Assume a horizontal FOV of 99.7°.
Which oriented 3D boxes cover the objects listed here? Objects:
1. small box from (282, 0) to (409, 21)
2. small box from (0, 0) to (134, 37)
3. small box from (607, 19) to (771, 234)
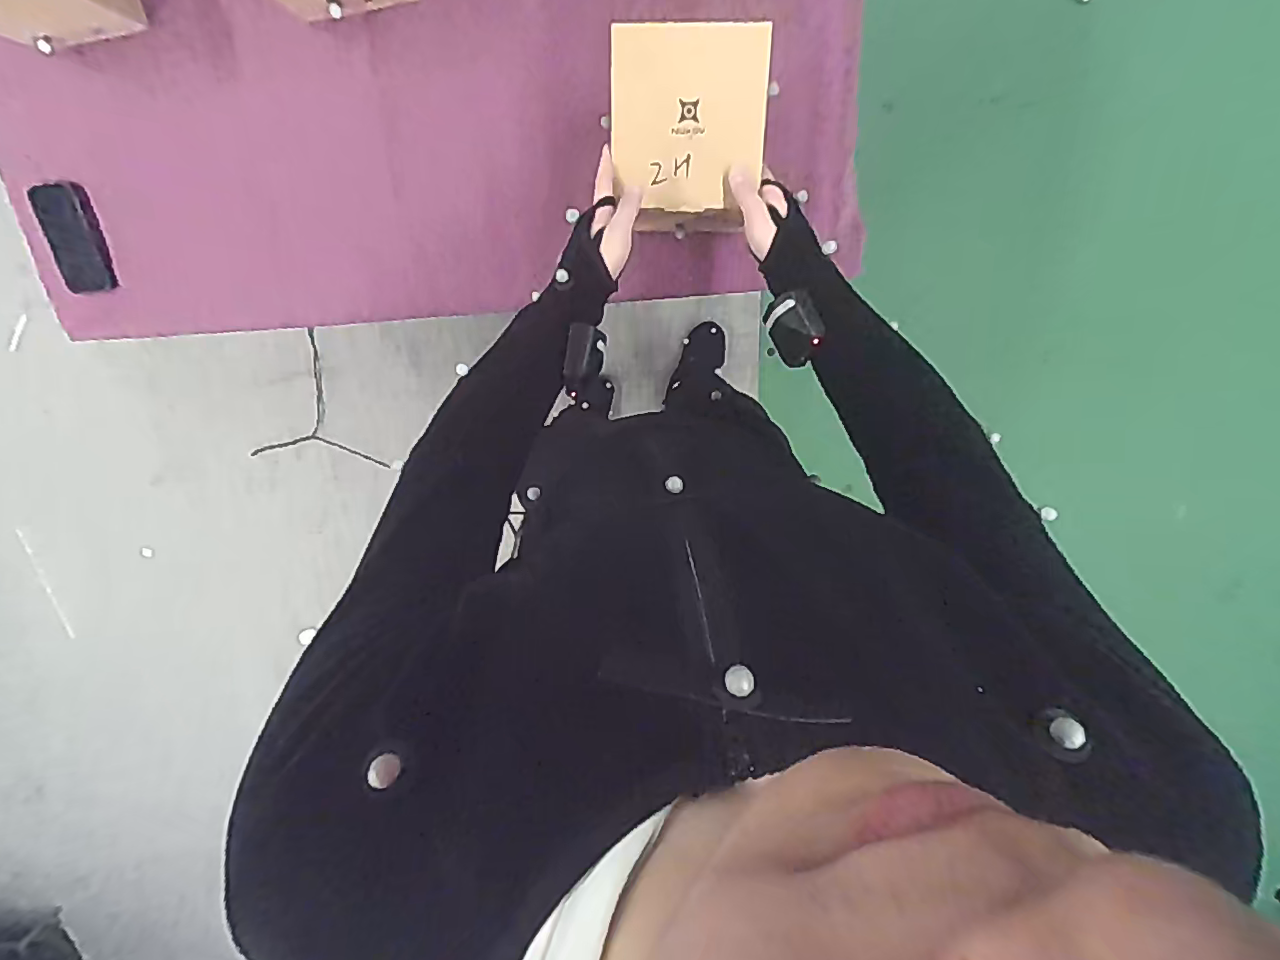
[{"bbox_3d":[-0.378,-0.658,0.593,0.168,0.176,0.179,-6,110,6],"label":"small box"},{"bbox_3d":[-0.748,-0.645,0.615,0.168,0.176,0.179,-7,108,5],"label":"small box"},{"bbox_3d":[0.051,-0.404,0.646,0.168,0.176,0.179,3,108,3],"label":"small box"}]
